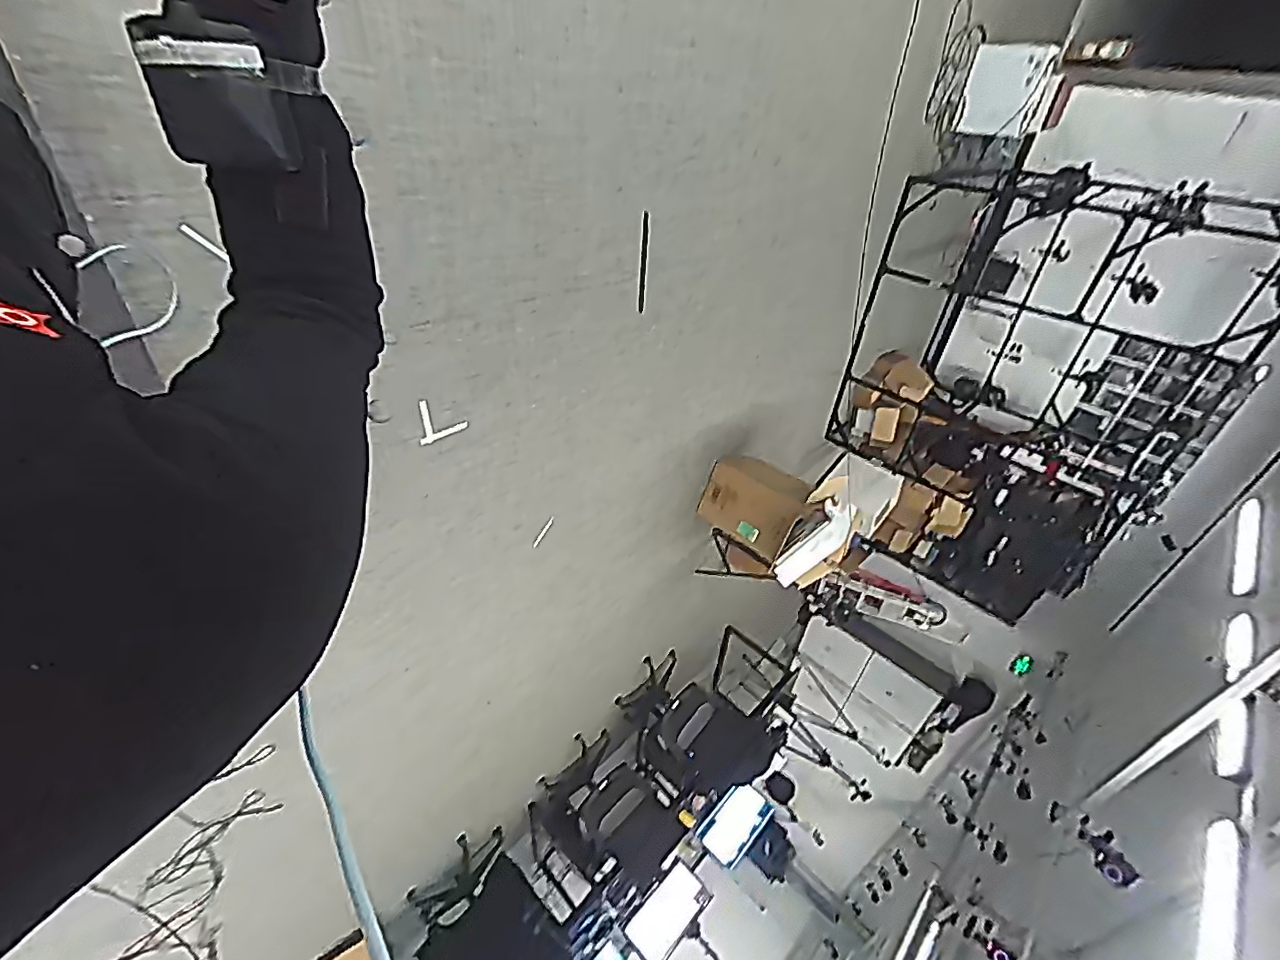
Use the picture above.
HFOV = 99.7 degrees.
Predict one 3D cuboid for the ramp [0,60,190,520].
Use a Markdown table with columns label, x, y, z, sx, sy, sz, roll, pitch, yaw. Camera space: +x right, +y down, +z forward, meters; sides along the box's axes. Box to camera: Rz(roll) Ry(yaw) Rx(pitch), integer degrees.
| label | x | y | z | sx | sy | sz | roll | pitch | yaw |
| --- | --- | --- | --- | --- | --- | --- | --- | --- | --- |
| ramp | -1.178 | -0.307 | 0.865 | 0.509 | 0.206 | 0.991 | -31 | 140 | -37 |
